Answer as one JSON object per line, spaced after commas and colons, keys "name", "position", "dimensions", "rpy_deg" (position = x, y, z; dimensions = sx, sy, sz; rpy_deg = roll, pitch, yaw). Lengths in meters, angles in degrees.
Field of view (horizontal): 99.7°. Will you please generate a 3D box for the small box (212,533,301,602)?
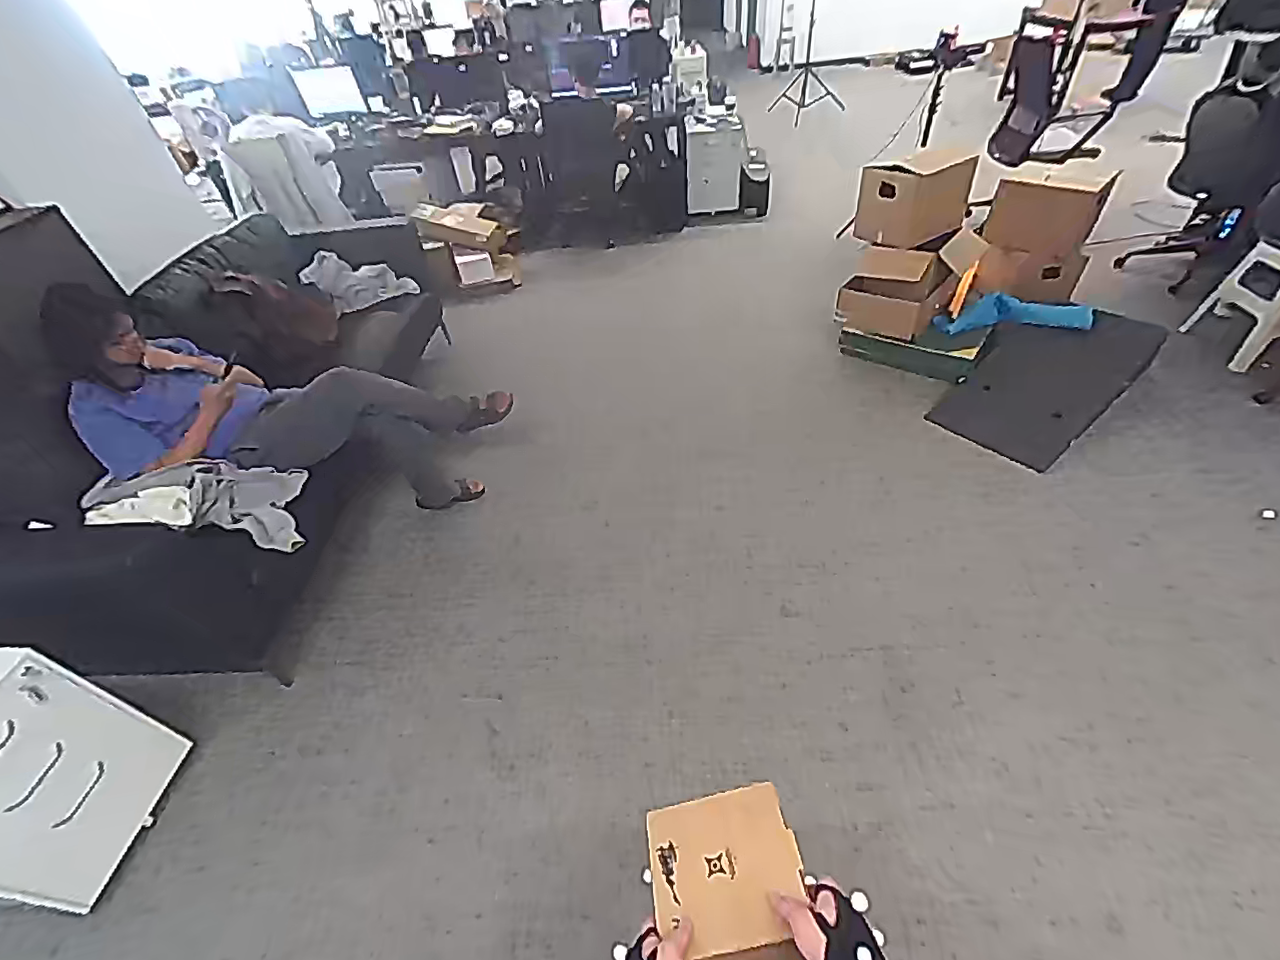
{"name": "small box", "position": [-1.293, 0.302, 1.840], "dimensions": [0.168, 0.176, 0.179], "rpy_deg": [-35, 2, -22]}
